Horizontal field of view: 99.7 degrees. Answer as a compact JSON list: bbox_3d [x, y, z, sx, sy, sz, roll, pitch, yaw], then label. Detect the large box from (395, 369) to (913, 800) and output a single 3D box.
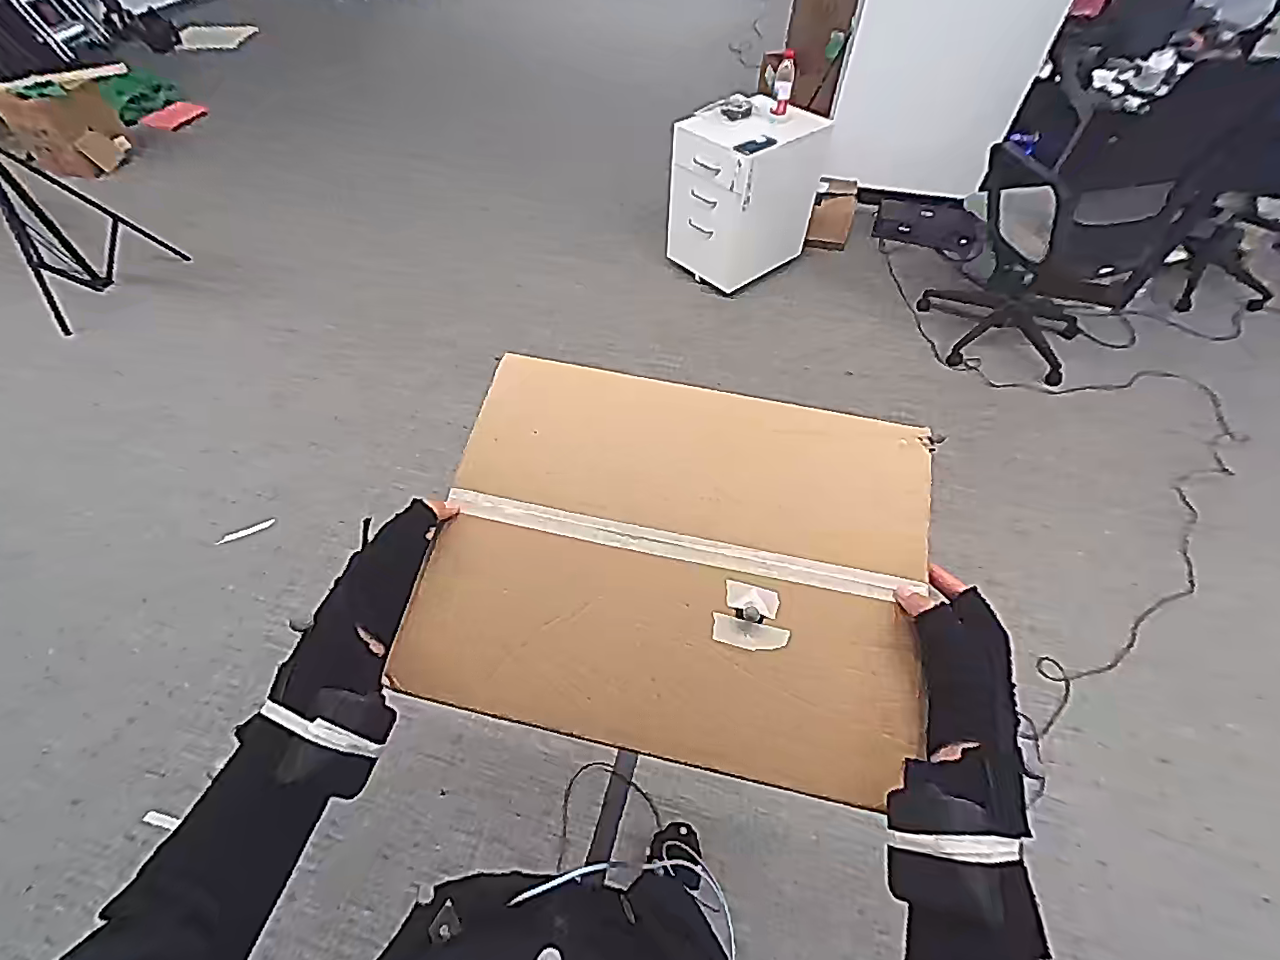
[{"bbox_3d":[0.028,0.118,0.600,0.408,0.320,0.320,11,69,5],"label":"large box"}]
